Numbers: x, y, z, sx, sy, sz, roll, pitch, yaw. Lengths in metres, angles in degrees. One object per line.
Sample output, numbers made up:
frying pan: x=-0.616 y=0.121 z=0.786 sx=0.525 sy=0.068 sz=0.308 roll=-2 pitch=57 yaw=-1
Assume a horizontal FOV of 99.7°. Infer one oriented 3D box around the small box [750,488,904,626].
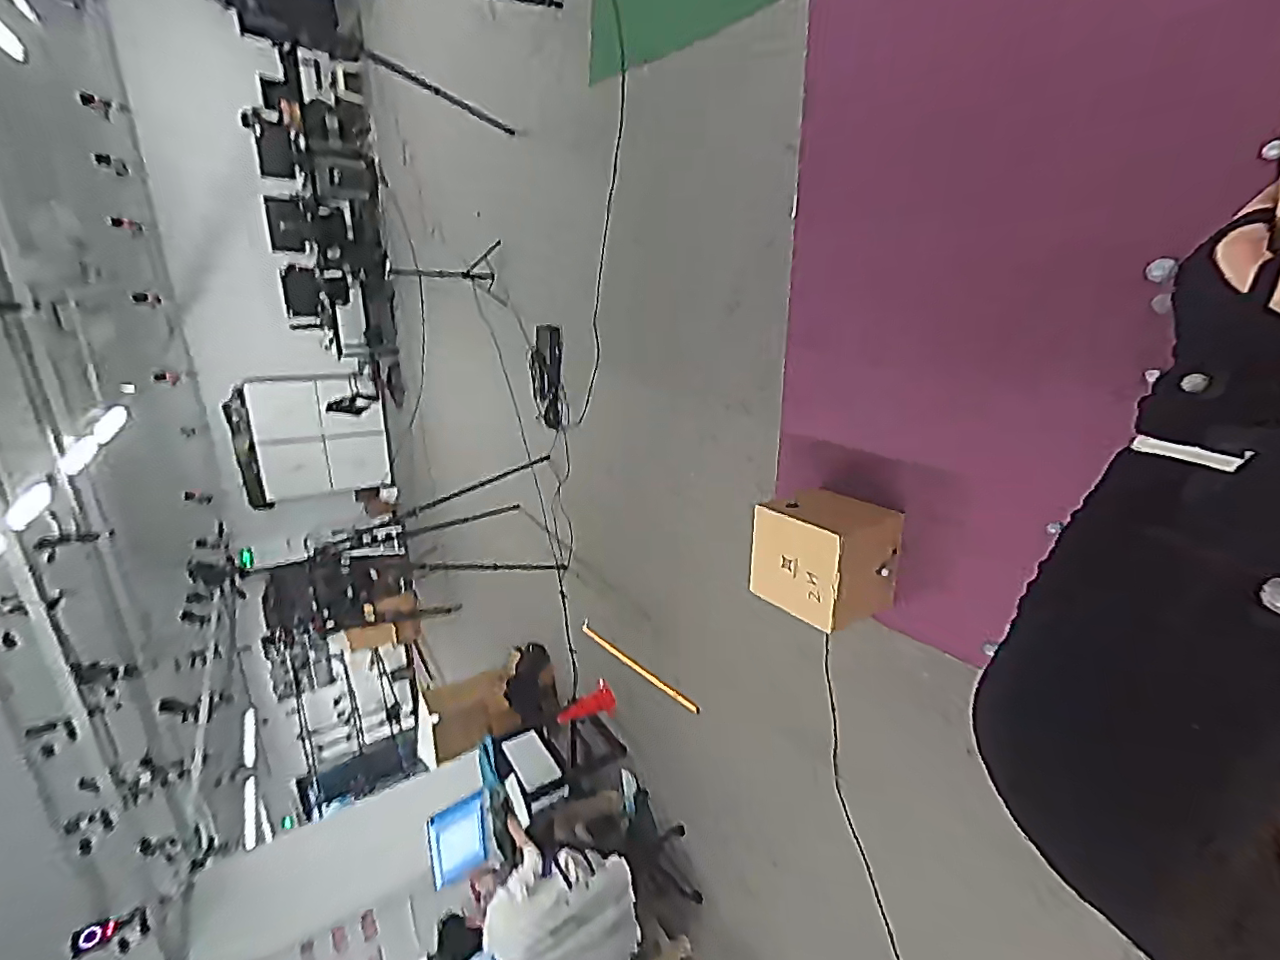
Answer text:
small box: x=0.313 y=0.118 z=0.921 sx=0.179 sy=0.176 sz=0.168 roll=23 pitch=118 yaw=52
